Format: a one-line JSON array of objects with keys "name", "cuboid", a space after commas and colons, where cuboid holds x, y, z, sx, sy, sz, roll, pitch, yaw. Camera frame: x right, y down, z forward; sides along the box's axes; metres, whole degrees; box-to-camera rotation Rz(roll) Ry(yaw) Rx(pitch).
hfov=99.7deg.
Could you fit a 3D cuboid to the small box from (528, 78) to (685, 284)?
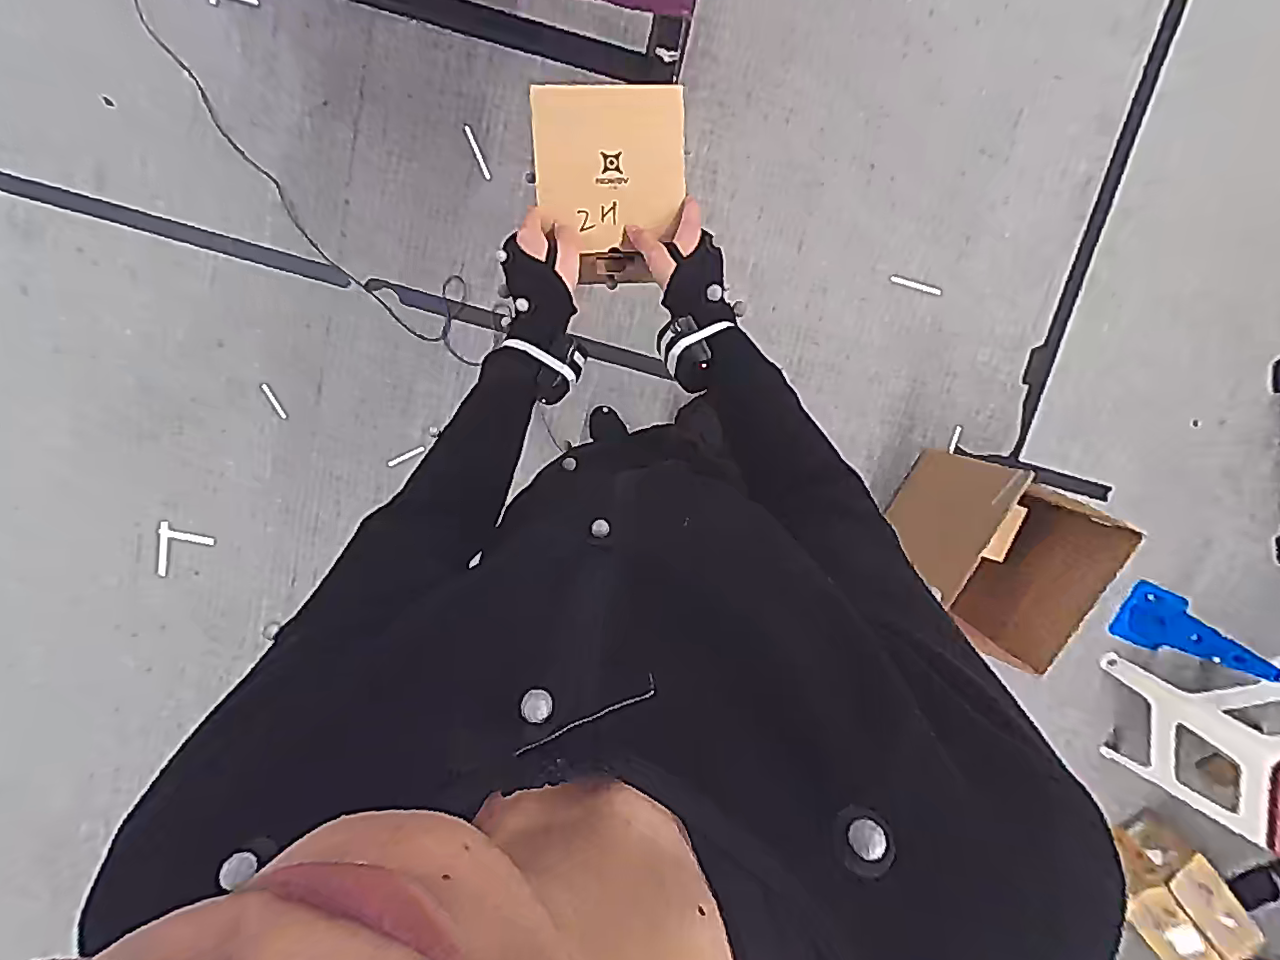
[{"name": "small box", "cuboid": [-0.040, -0.349, 0.661, 0.168, 0.176, 0.179, -4, 100, -3]}]
